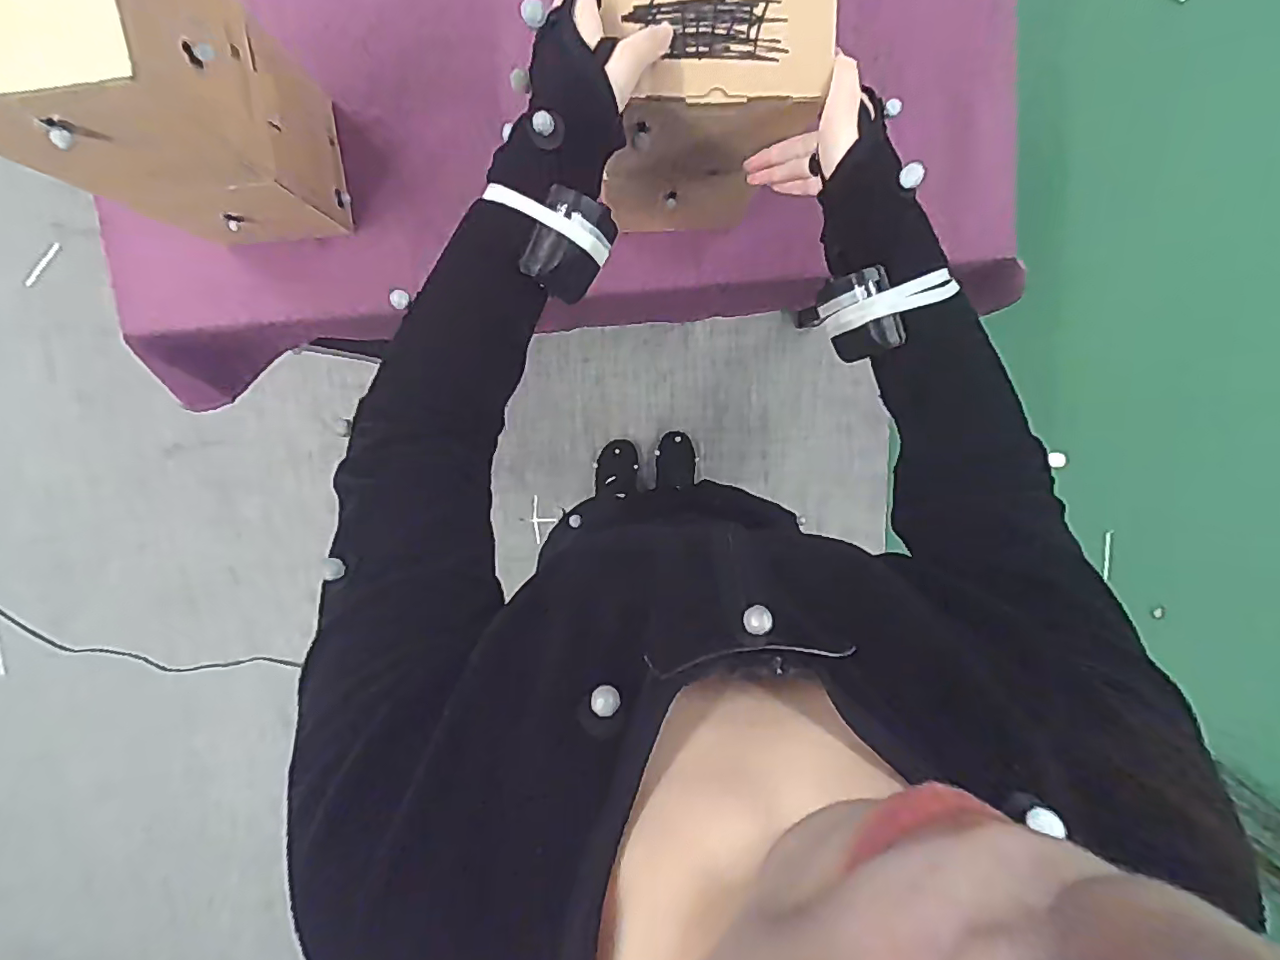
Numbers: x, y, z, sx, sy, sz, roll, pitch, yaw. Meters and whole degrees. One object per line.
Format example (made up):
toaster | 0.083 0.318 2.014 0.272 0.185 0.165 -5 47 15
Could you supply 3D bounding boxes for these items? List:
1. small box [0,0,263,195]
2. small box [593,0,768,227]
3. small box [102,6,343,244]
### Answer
small box | -0.457 -0.363 0.452 0.179 0.176 0.168 -8 98 0
small box | 0.040 -0.404 0.625 0.179 0.176 0.168 -1 98 -1
small box | -0.466 -0.384 0.613 0.179 0.176 0.168 -7 98 0
